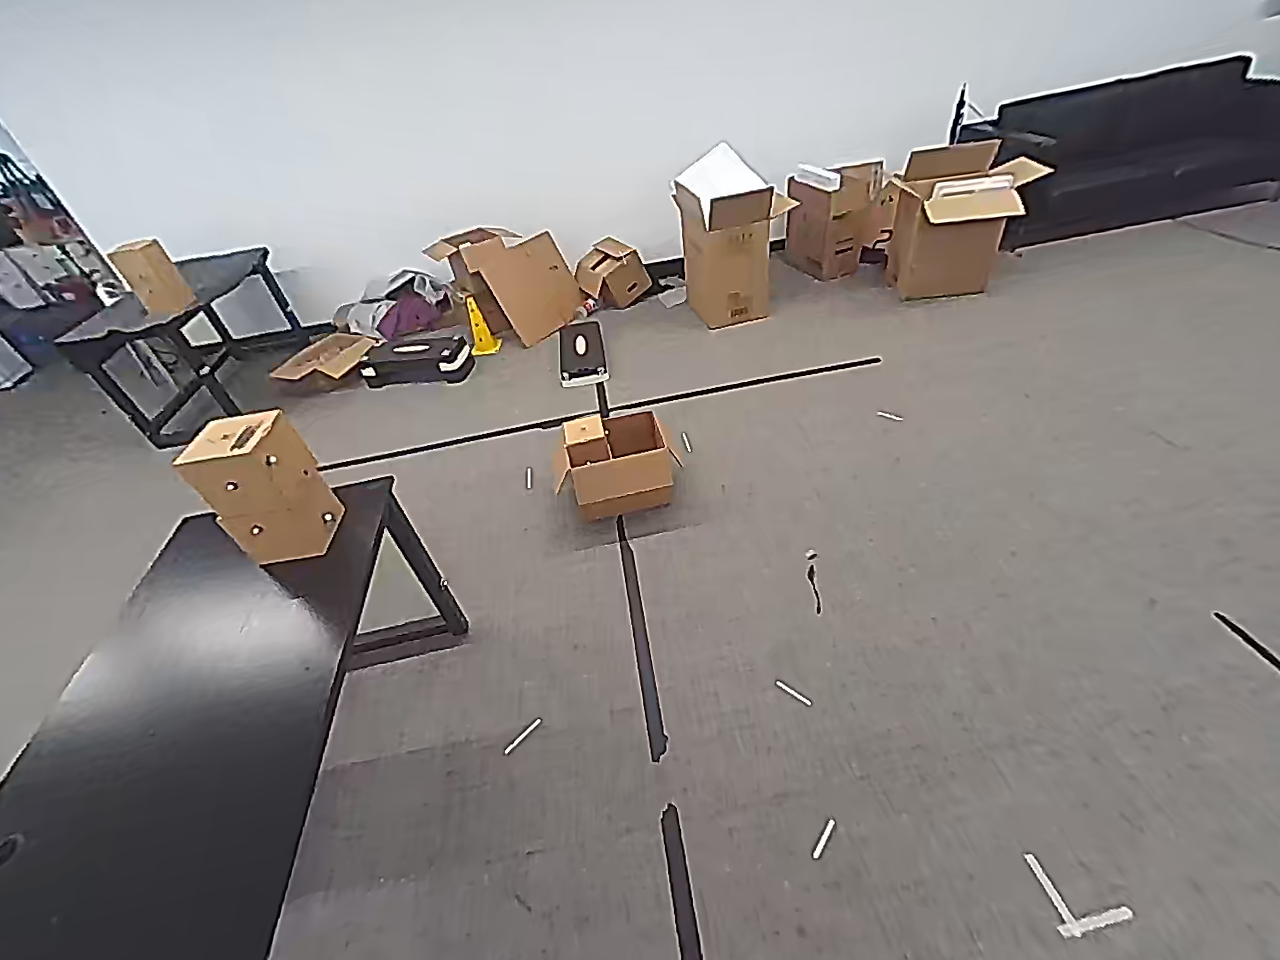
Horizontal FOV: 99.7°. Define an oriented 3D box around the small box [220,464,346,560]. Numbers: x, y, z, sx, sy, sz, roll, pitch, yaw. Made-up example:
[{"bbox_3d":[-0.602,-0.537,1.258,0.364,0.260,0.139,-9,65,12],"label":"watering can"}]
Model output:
[{"bbox_3d":[-0.887,0.085,1.364,0.179,0.176,0.168,-8,42,2],"label":"small box"}]
